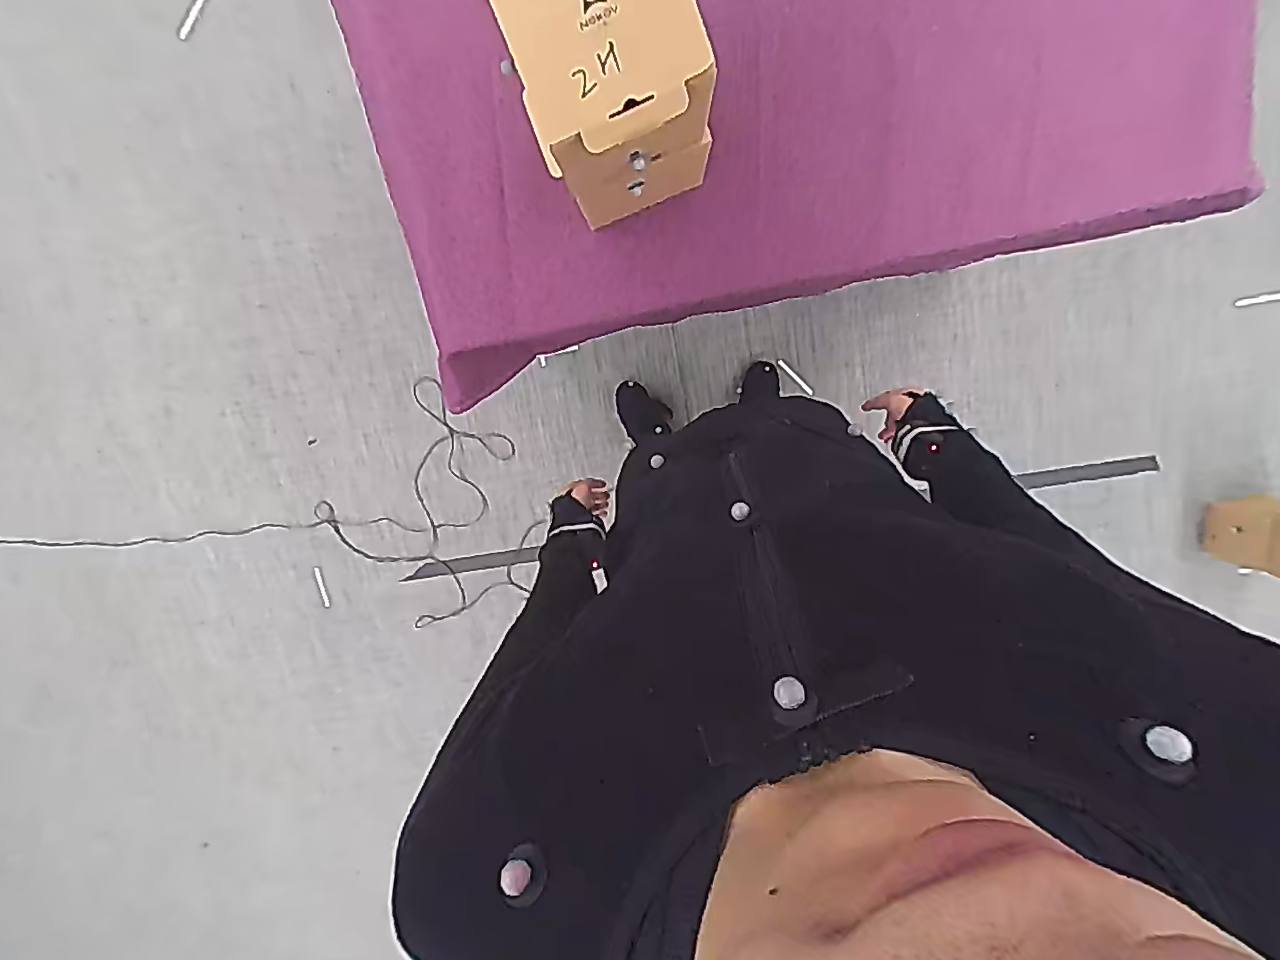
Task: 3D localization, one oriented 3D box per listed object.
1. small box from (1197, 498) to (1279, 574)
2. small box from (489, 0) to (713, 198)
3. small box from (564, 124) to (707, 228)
[{"bbox_3d":[1.758,0.154,1.540,0.179,0.176,0.168,-6,102,3],"label":"small box"},{"bbox_3d":[-0.039,-0.424,0.549,0.168,0.176,0.179,-22,101,7],"label":"small box"},{"bbox_3d":[-0.025,-0.457,0.710,0.179,0.176,0.168,-20,101,5],"label":"small box"}]
